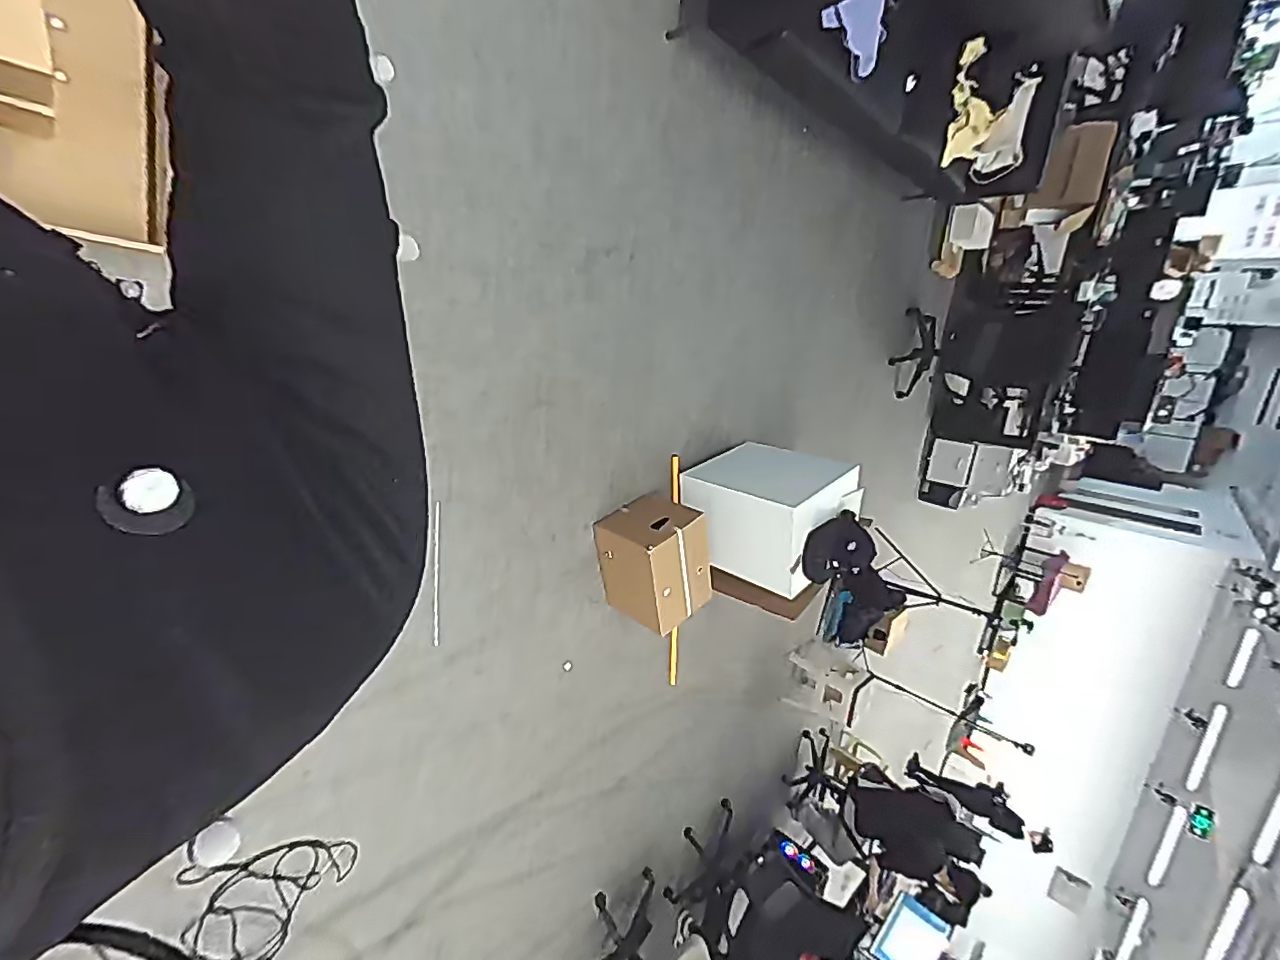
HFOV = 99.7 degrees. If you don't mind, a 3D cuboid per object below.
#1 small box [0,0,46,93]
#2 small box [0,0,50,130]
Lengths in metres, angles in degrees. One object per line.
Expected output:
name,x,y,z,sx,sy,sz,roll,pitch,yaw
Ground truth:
small box,-0.862,-0.616,0.664,0.168,0.176,0.179,-9,109,-46
small box,-0.978,-0.644,0.777,0.168,0.176,0.179,-5,106,-46
